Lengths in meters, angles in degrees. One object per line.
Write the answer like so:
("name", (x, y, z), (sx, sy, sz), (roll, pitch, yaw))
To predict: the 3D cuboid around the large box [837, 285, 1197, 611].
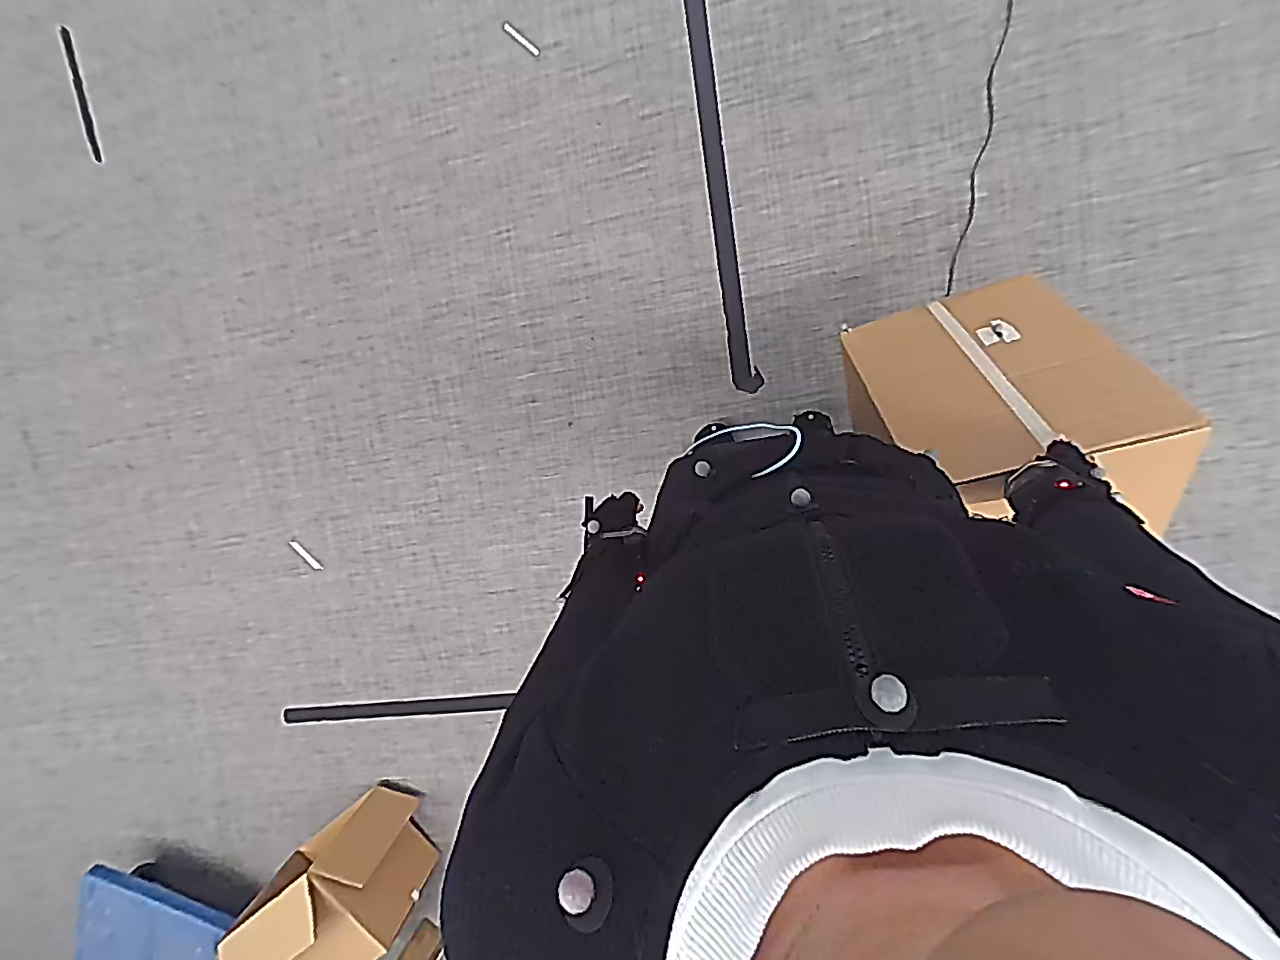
("large box", (0.557, -0.056, 0.900), (0.320, 0.408, 0.320), (-15, 131, 12))
